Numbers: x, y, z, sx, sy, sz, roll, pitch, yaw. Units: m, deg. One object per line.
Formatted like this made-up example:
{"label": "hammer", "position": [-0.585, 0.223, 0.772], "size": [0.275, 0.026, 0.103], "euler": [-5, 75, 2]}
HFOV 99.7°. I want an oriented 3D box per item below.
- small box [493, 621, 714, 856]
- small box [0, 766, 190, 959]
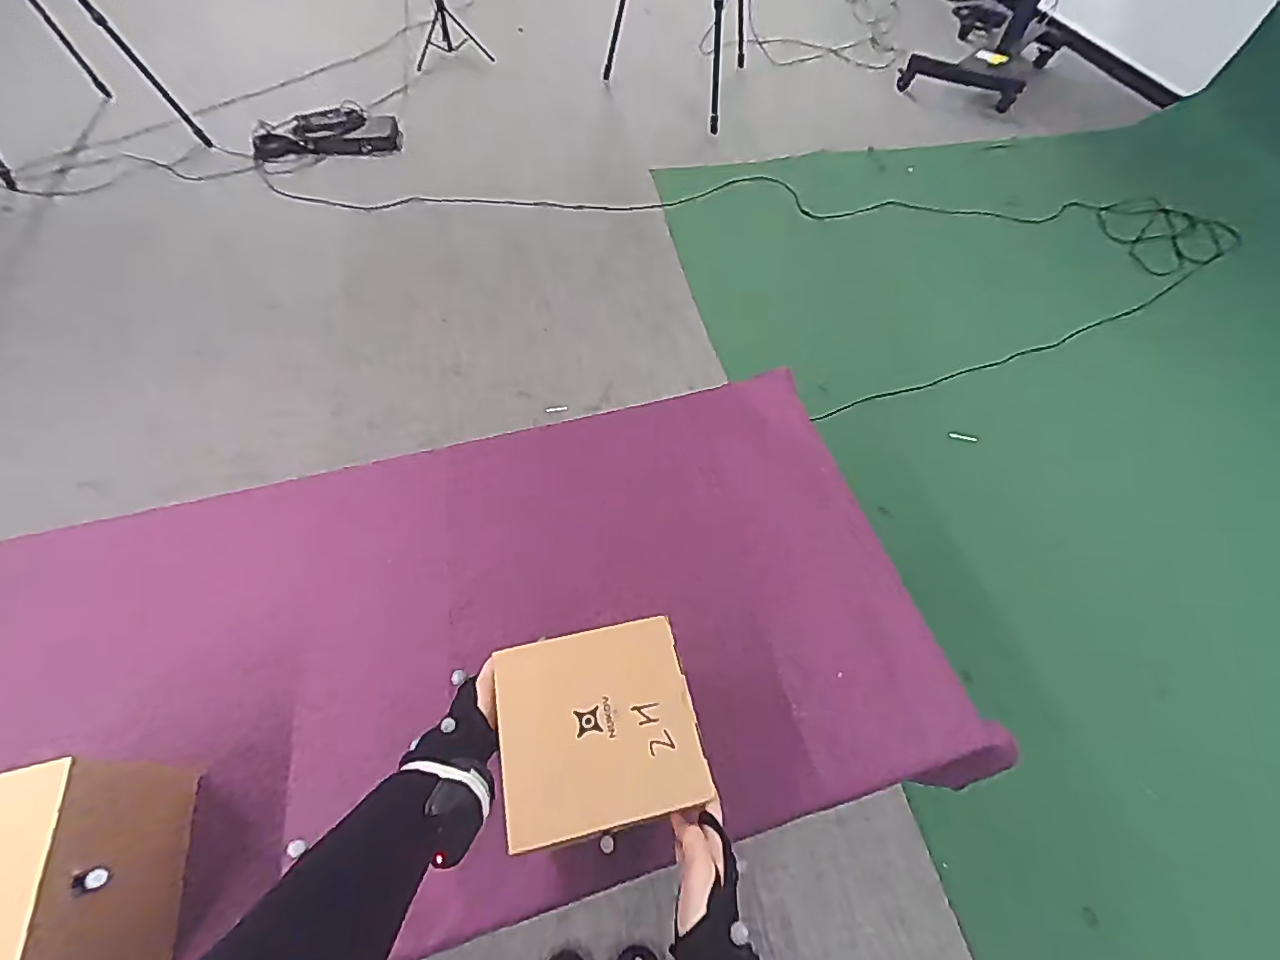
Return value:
{"label": "small box", "position": [-0.041, 0.265, 0.548], "size": [0.179, 0.176, 0.168], "euler": [-10, 56, -10]}
{"label": "small box", "position": [-0.542, 0.373, 0.472], "size": [0.168, 0.176, 0.179], "euler": [-12, 60, -10]}
